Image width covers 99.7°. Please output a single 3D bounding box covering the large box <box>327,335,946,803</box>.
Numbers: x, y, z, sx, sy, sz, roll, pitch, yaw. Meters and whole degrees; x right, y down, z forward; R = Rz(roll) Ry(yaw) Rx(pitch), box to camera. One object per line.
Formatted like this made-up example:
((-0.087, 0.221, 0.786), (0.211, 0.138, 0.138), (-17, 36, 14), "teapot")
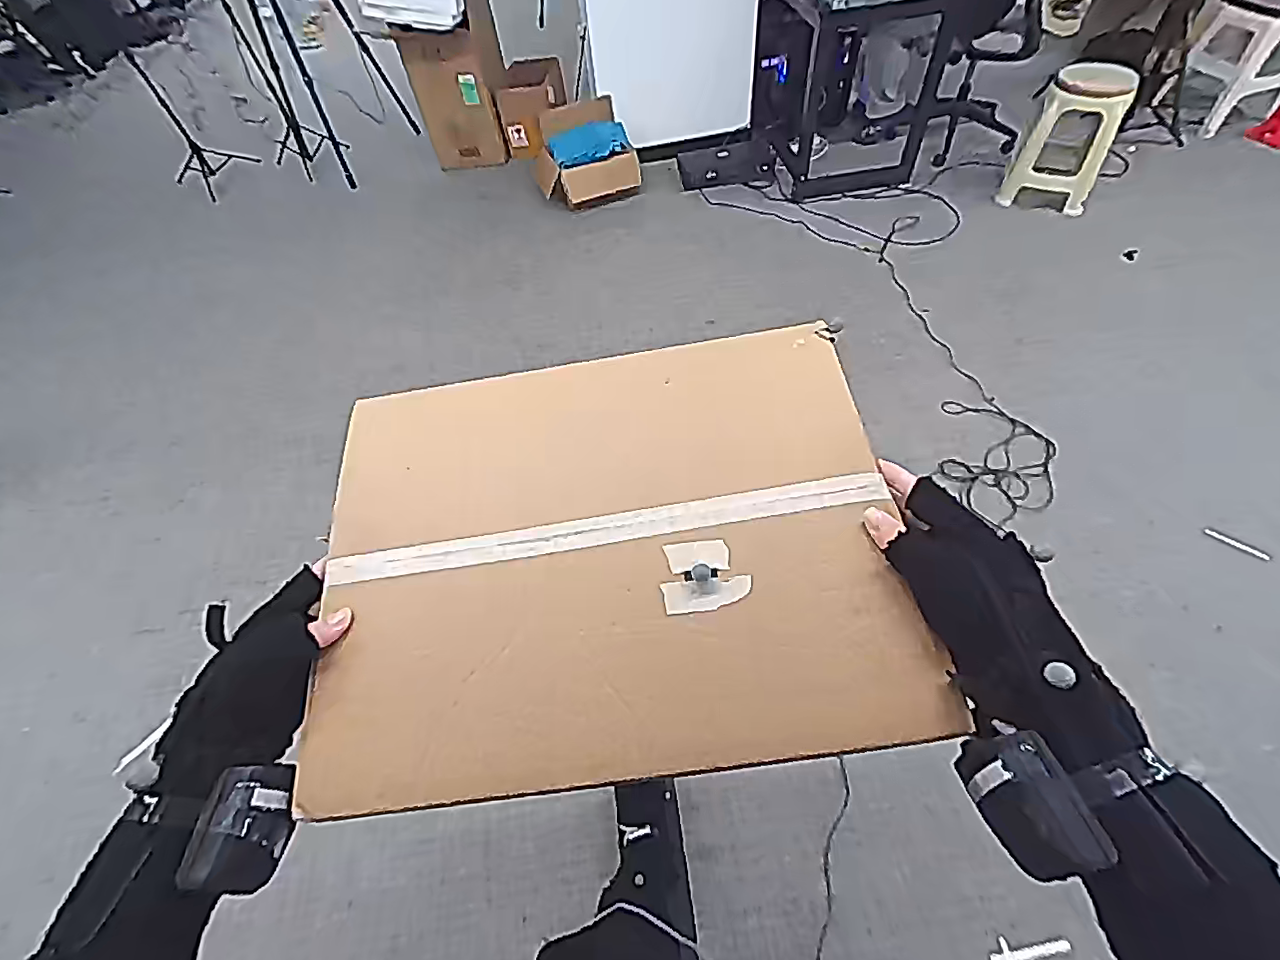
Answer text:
((-0.009, 0.108, 0.537), (0.408, 0.320, 0.320), (-9, 63, 3), "large box")
